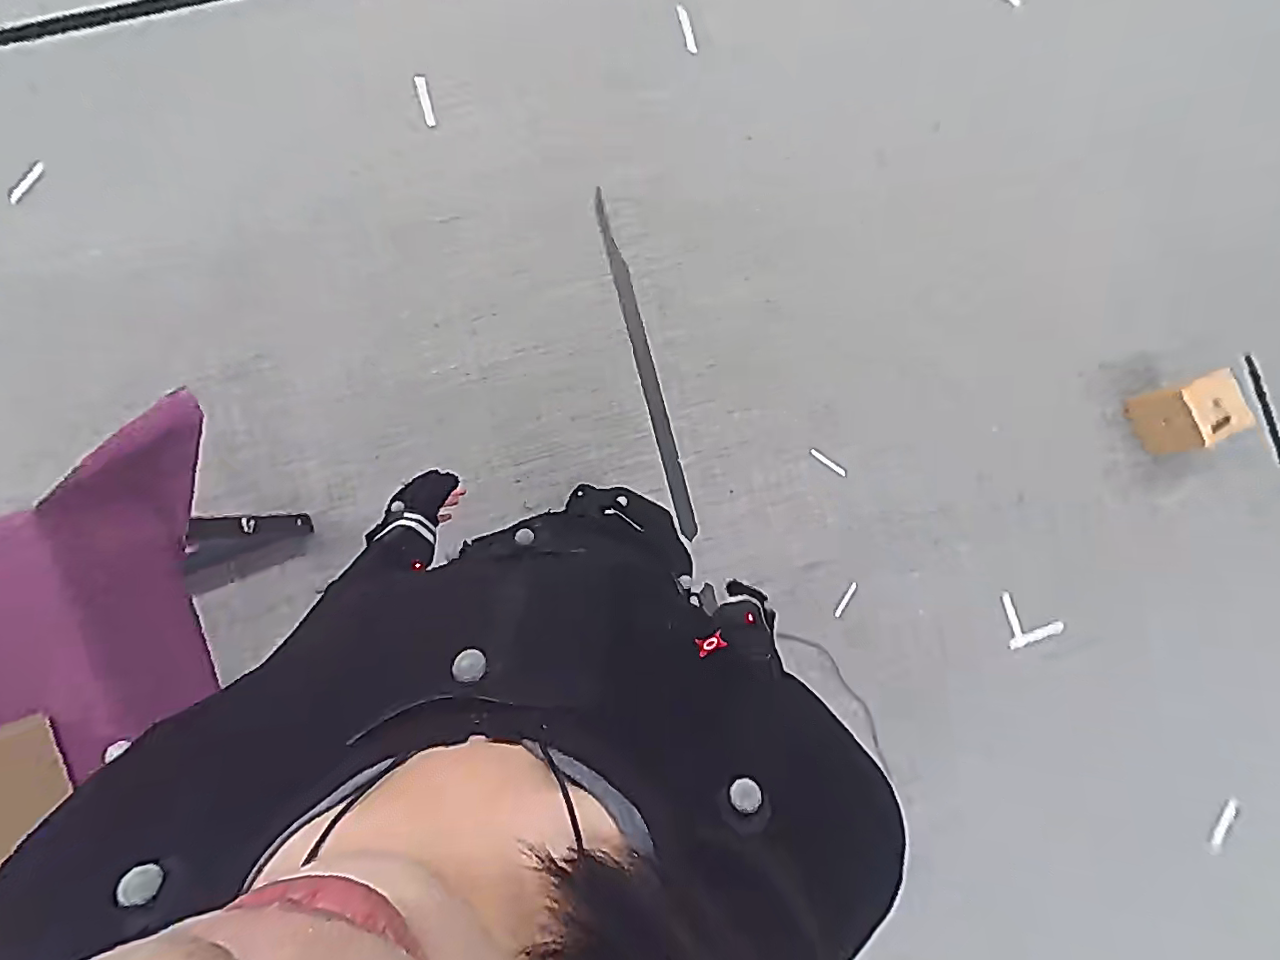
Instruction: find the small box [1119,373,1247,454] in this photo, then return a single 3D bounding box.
[{"bbox_3d":[1.571,-0.183,1.574,0.168,0.176,0.179,-24,87,-5],"label":"small box"}]
